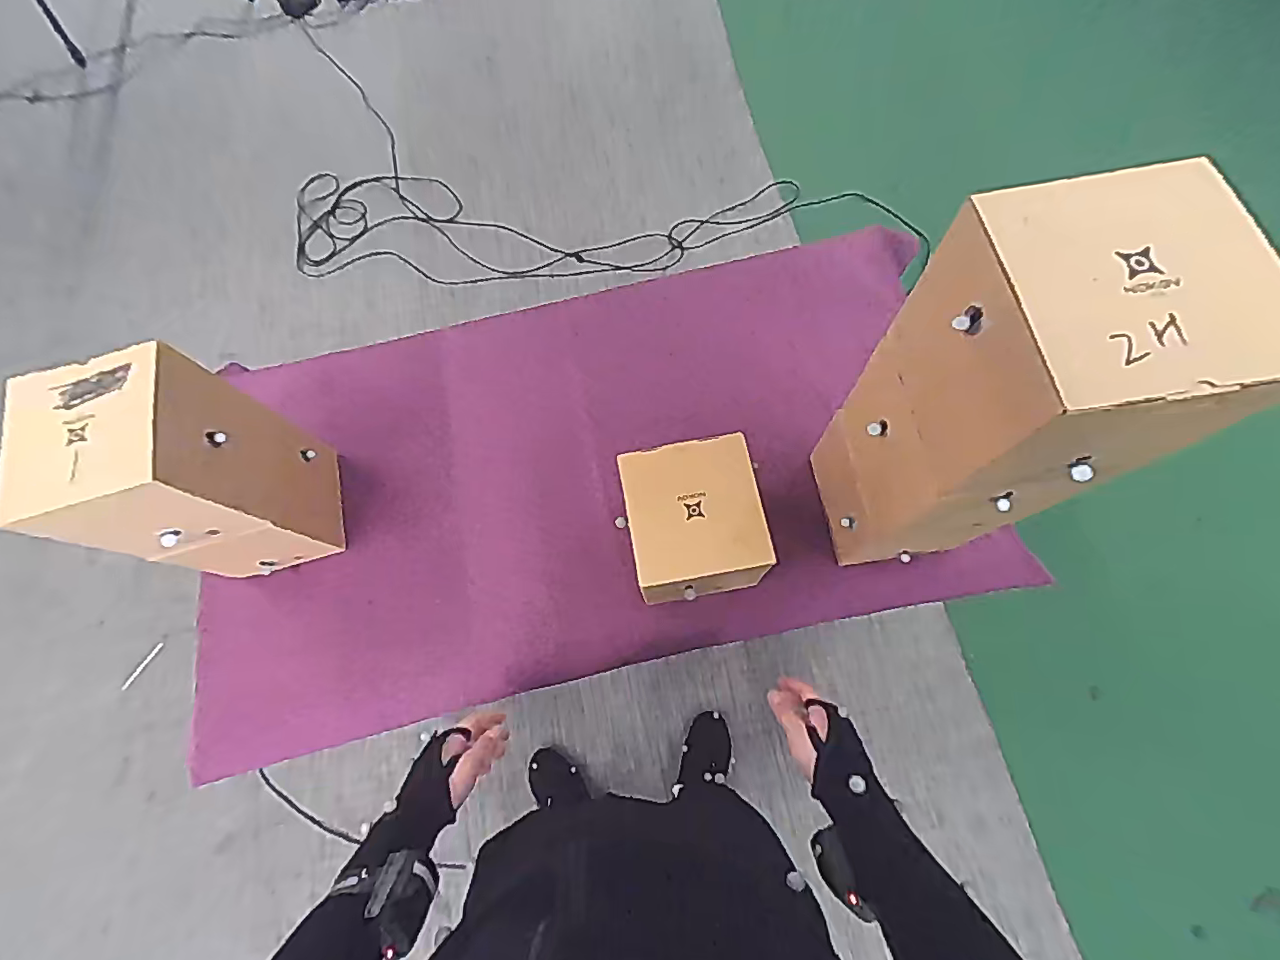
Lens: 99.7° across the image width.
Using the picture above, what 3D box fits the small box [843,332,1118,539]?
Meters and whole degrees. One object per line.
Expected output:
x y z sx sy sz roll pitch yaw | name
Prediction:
0.335 -0.049 0.579 0.168 0.176 0.179 -9 69 2 | small box

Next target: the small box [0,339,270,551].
-0.575 -0.031 0.639 0.168 0.176 0.179 -16 71 -1 | small box

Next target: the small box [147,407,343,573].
-0.565 0.023 0.793 0.168 0.176 0.179 -15 71 -1 | small box

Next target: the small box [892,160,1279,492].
0.324 -0.105 0.425 0.168 0.176 0.179 -8 71 2 | small box

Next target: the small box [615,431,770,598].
0.068 0.058 0.738 0.168 0.176 0.179 -11 69 1 | small box
